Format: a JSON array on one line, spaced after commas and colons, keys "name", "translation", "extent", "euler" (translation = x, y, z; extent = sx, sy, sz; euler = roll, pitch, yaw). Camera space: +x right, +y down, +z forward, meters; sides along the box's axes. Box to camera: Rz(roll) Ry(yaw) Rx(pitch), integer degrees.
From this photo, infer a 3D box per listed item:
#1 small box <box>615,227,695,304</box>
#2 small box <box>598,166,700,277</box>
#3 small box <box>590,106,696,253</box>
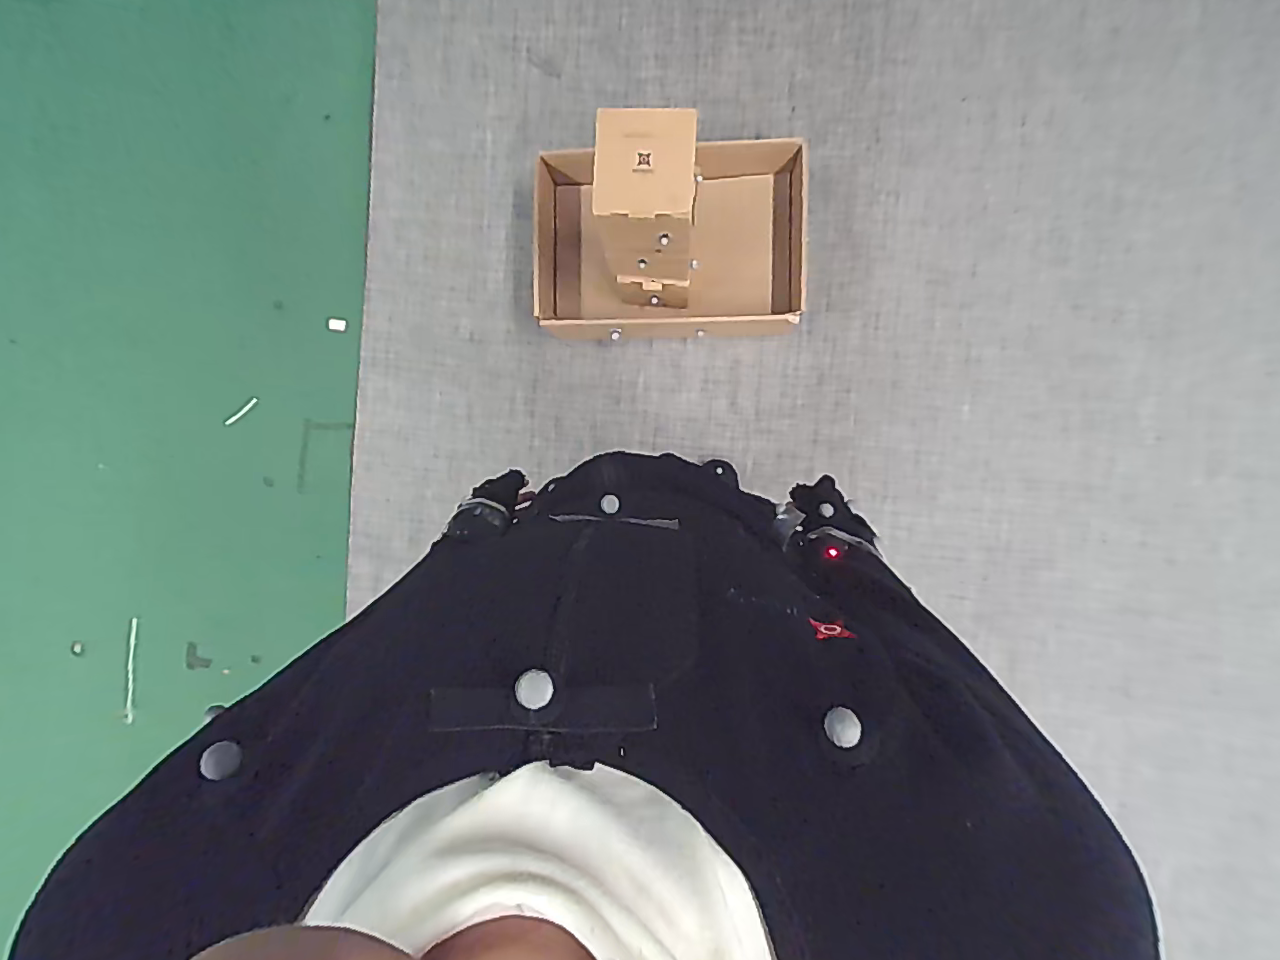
[{"name": "small box", "translation": [0.040, -0.529, 1.283], "extent": [0.168, 0.176, 0.179], "euler": [7, 93, 4]}, {"name": "small box", "translation": [0.024, -0.535, 1.119], "extent": [0.179, 0.176, 0.168], "euler": [9, 92, 5]}, {"name": "small box", "translation": [0.010, -0.521, 0.959], "extent": [0.168, 0.176, 0.179], "euler": [4, 90, 3]}]
